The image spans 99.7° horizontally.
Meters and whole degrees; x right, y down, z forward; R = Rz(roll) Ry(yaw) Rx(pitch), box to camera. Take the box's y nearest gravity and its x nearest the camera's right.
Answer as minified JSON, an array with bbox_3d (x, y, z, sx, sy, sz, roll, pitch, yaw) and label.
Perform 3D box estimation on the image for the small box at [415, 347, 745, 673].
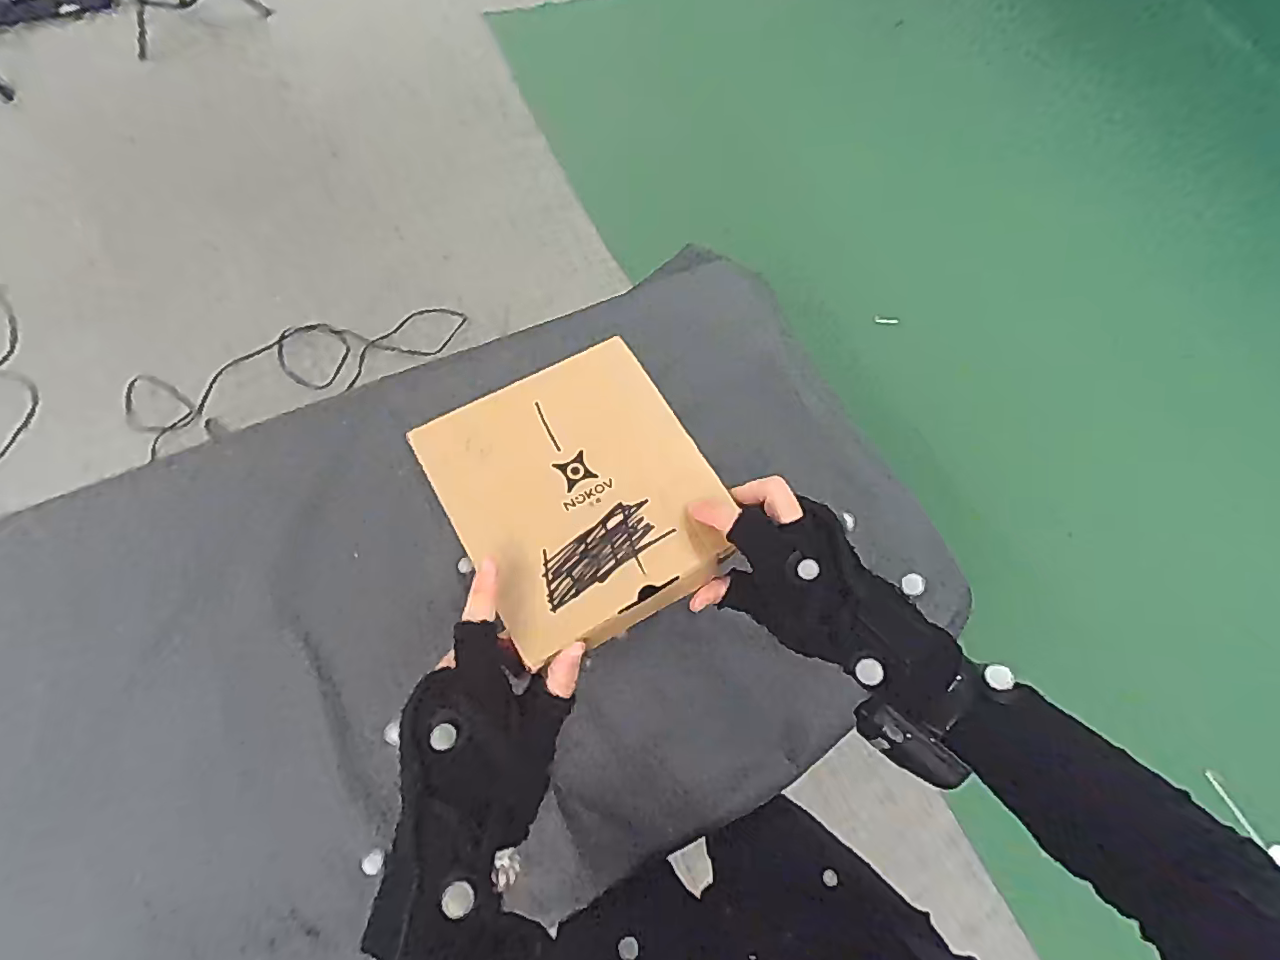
[{"bbox_3d":[-0.046,0.034,0.435,0.168,0.176,0.179,-28,74,-14],"label":"small box"}]
